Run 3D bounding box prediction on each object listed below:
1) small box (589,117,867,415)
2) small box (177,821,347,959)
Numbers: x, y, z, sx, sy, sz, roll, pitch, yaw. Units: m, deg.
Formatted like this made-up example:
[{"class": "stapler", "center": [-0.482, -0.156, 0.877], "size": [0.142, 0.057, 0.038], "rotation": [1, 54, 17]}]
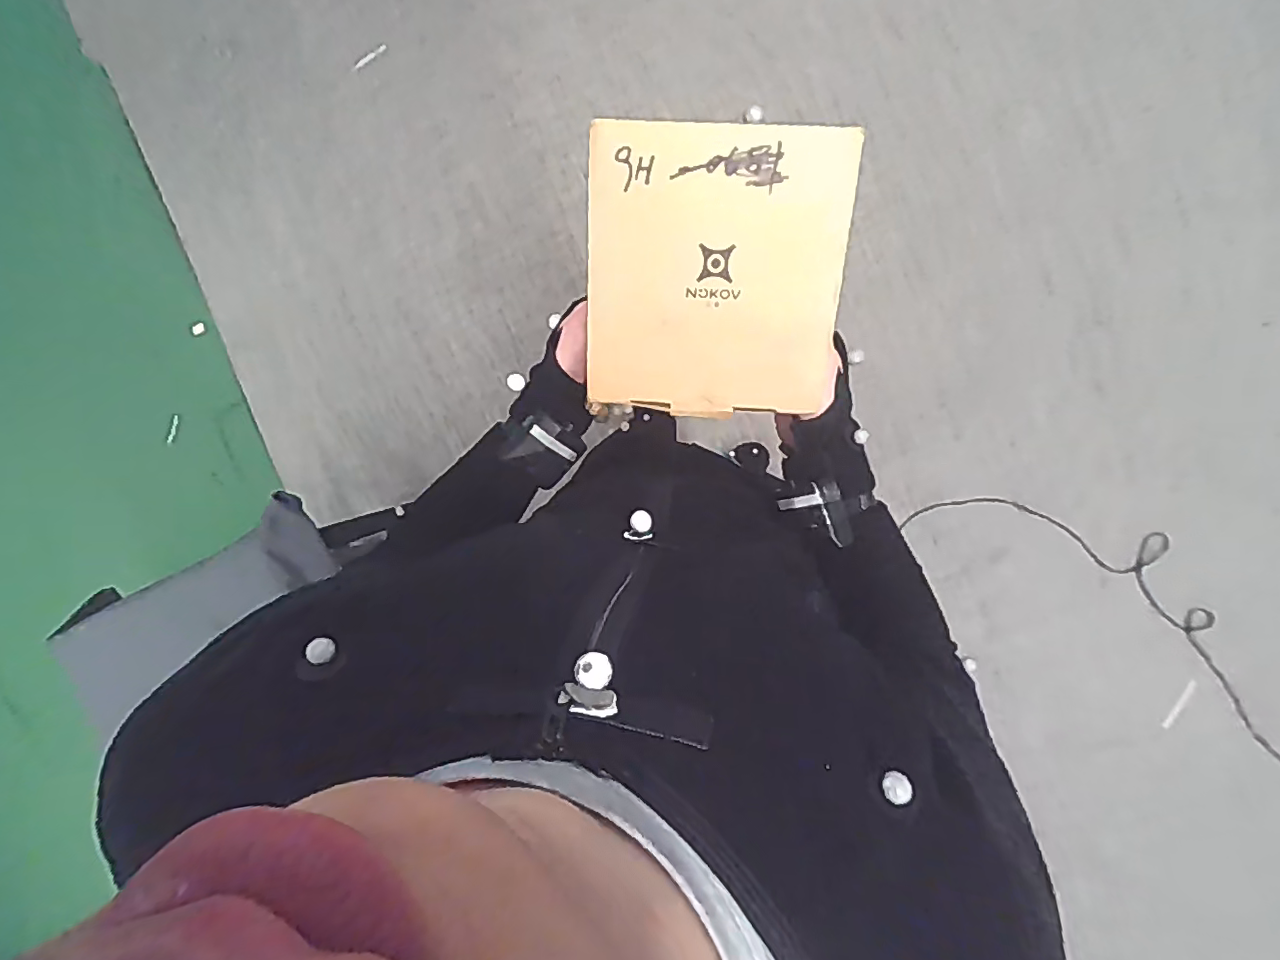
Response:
[{"class": "small box", "center": [0.055, -0.162, 0.428], "size": [0.168, 0.176, 0.179], "rotation": [4, 111, 2]}, {"class": "small box", "center": [-0.678, 0.768, 0.995], "size": [0.179, 0.176, 0.168], "rotation": [-23, 90, 15]}]
